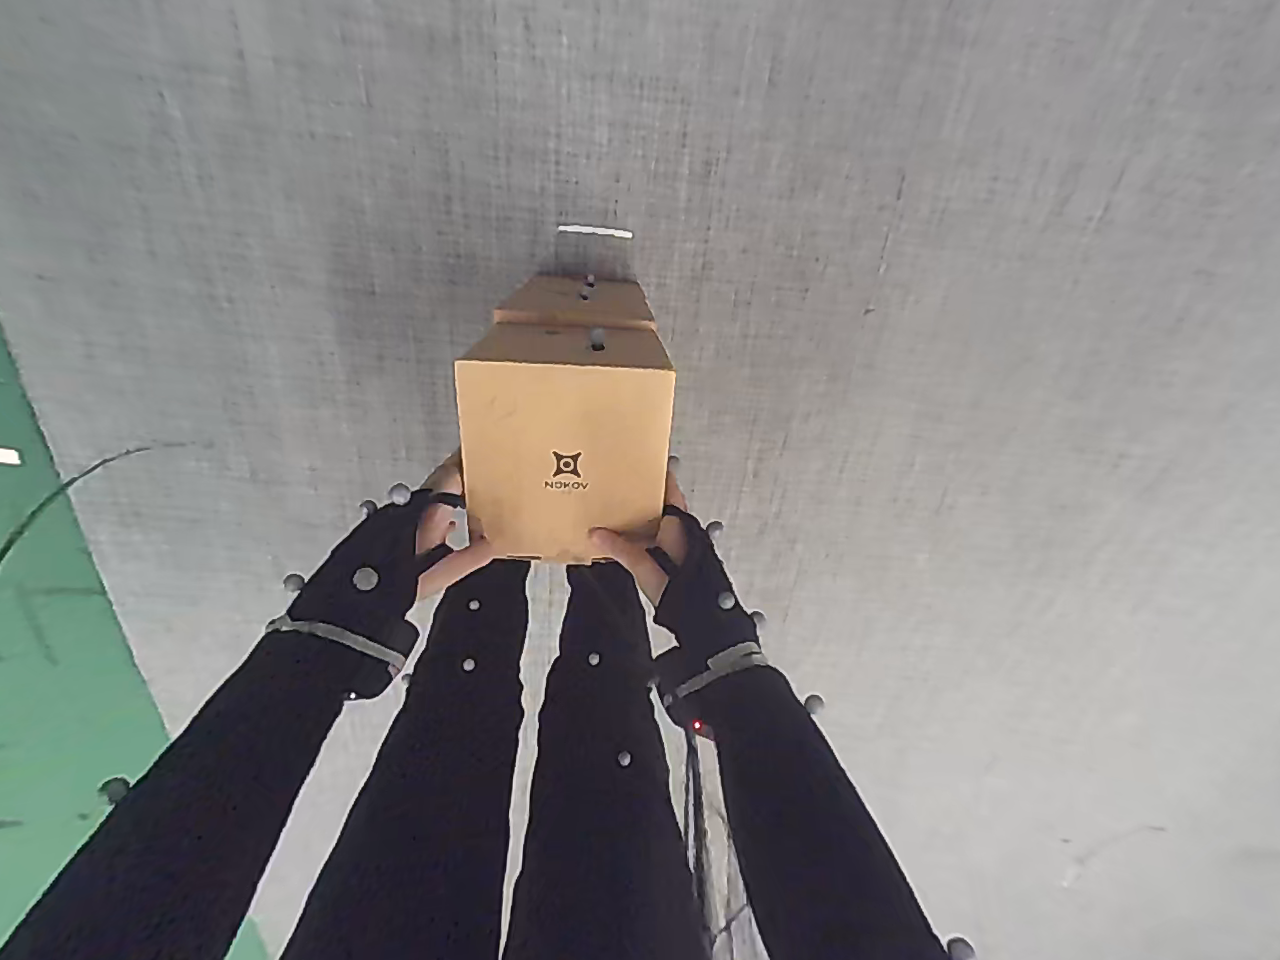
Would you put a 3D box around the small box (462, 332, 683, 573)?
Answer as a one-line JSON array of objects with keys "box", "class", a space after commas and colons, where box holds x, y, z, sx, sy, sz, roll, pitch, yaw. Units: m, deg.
[{"box": [-0.061, -0.034, 0.503, 0.168, 0.176, 0.179, 2, 117, -5], "class": "small box"}]

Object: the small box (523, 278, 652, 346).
[{"box": [-0.080, -0.190, 0.790, 0.168, 0.176, 0.179, 4, 118, -6], "class": "small box"}]
